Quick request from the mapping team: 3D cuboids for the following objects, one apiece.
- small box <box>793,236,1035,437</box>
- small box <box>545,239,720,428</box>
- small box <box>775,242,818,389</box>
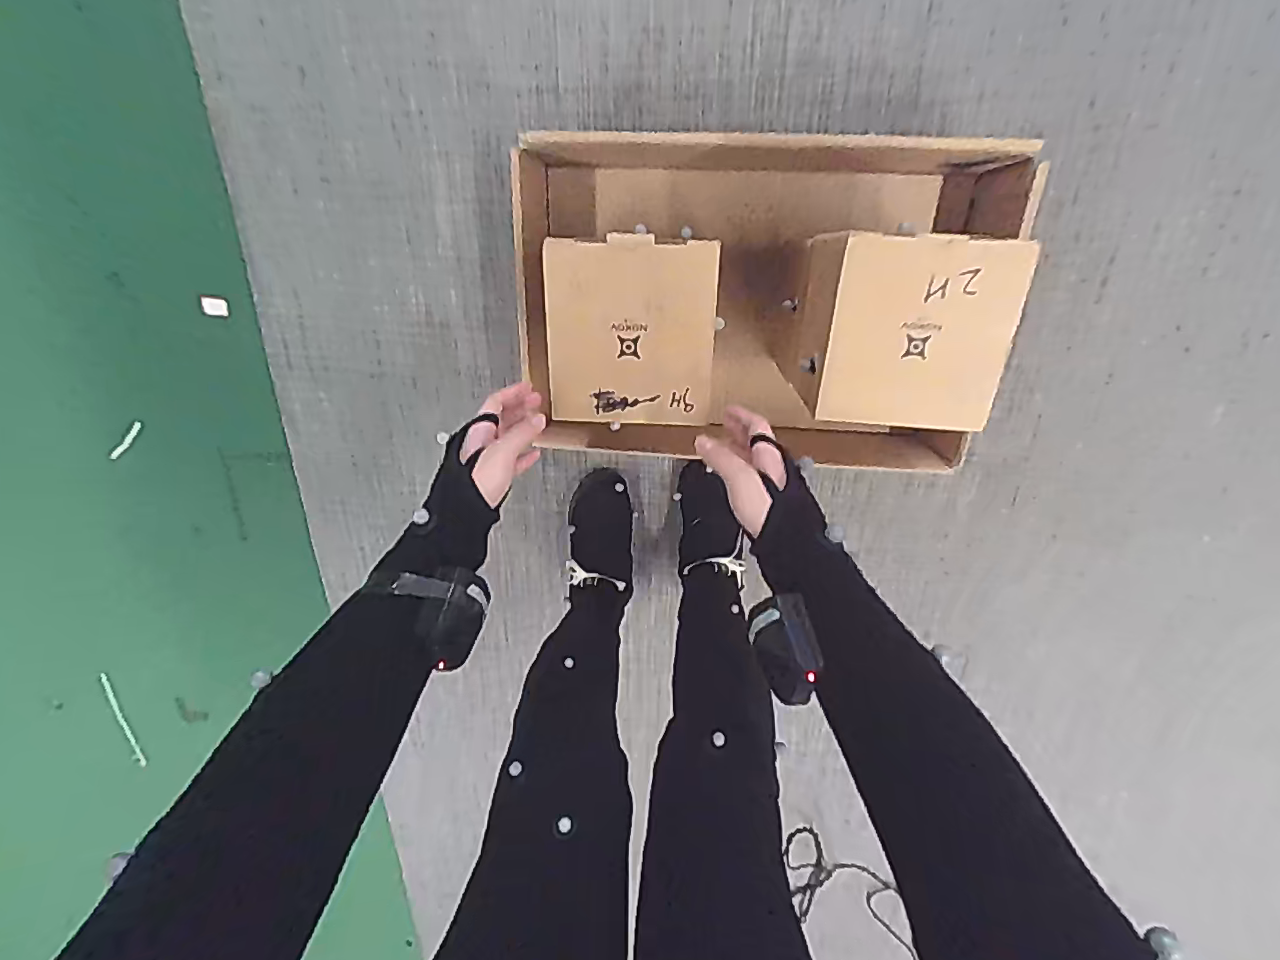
[{"bbox_3d":[0.266,-0.160,0.578,0.168,0.176,0.179,5,113,5],"label":"small box"},{"bbox_3d":[-0.004,-0.167,0.600,0.168,0.176,0.179,3,113,5],"label":"small box"},{"bbox_3d":[0.282,-0.222,0.731,0.168,0.176,0.179,5,113,5],"label":"small box"}]
